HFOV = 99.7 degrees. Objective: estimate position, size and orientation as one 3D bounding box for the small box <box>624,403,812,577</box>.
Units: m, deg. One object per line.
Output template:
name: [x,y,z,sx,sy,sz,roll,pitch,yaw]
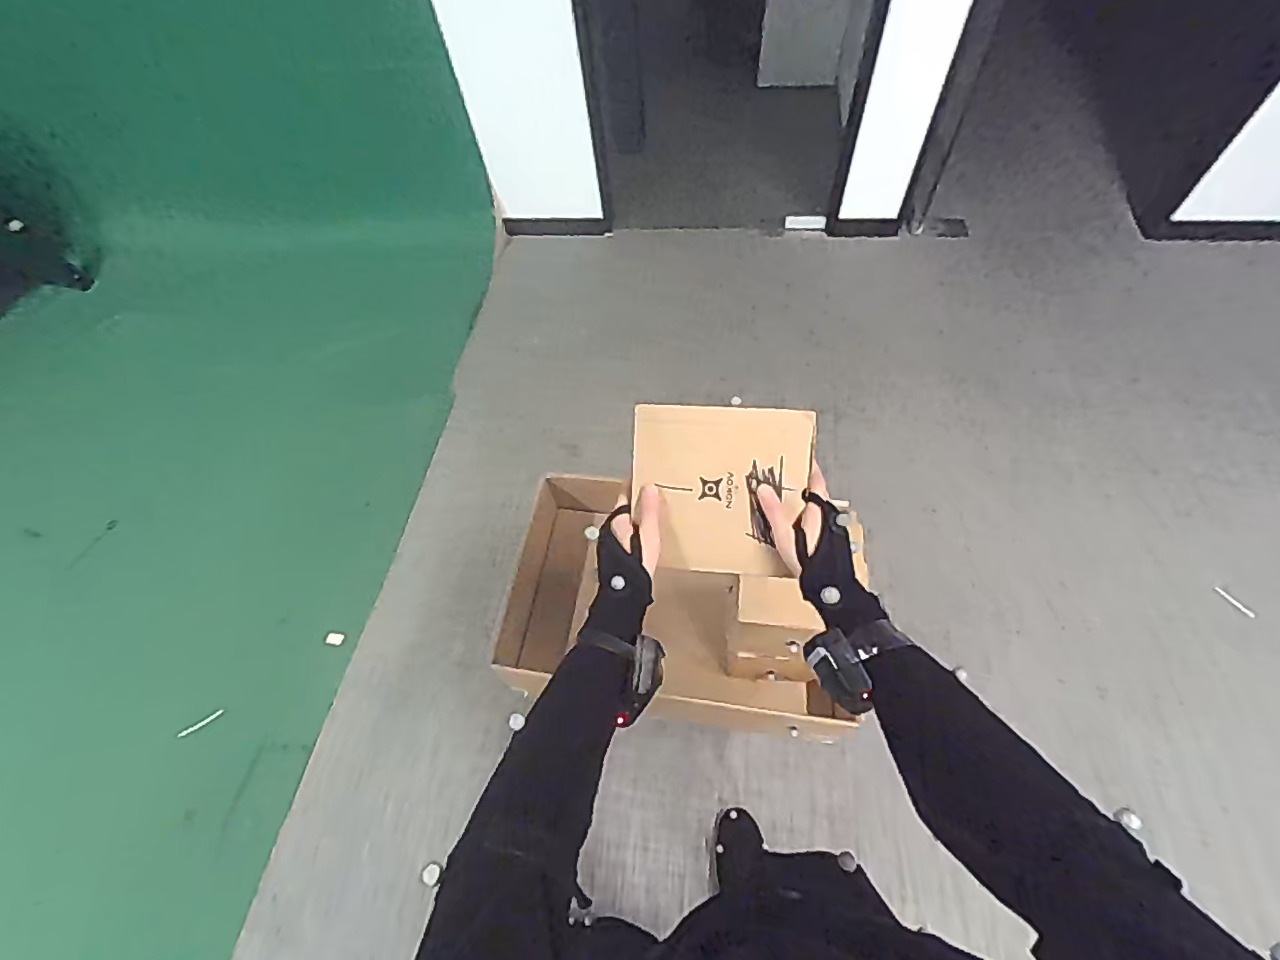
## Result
small box: [0.083,0.001,0.607,0.179,0.176,0.168,3,96,8]
